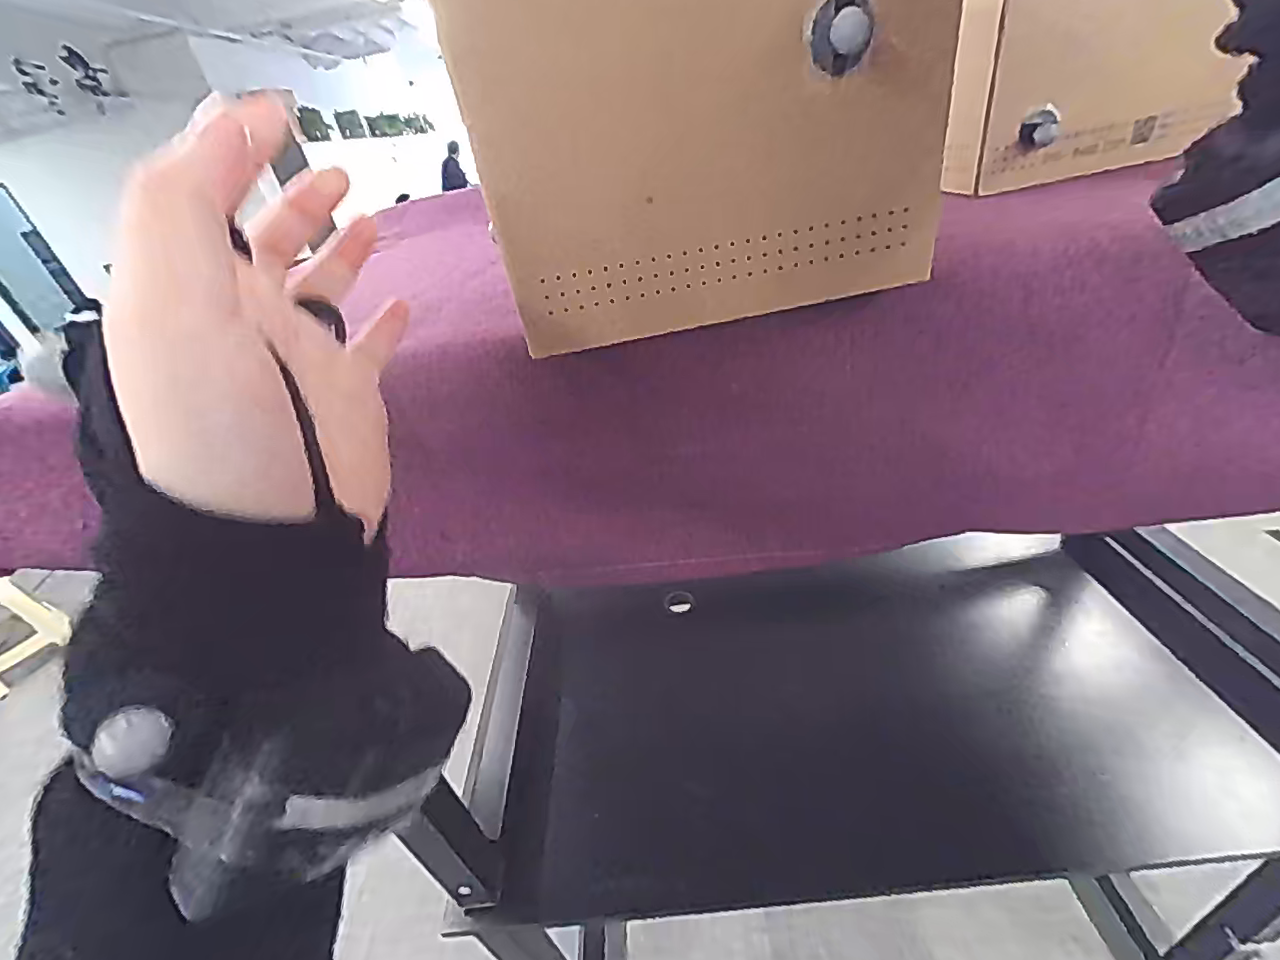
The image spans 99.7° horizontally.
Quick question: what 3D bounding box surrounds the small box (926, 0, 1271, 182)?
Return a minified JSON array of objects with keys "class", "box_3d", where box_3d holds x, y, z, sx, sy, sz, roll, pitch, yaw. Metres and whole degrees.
[{"class":"small box","box_3d":[0.266,-0.307,0.359,0.168,0.176,0.179,-12,33,-1]}]
